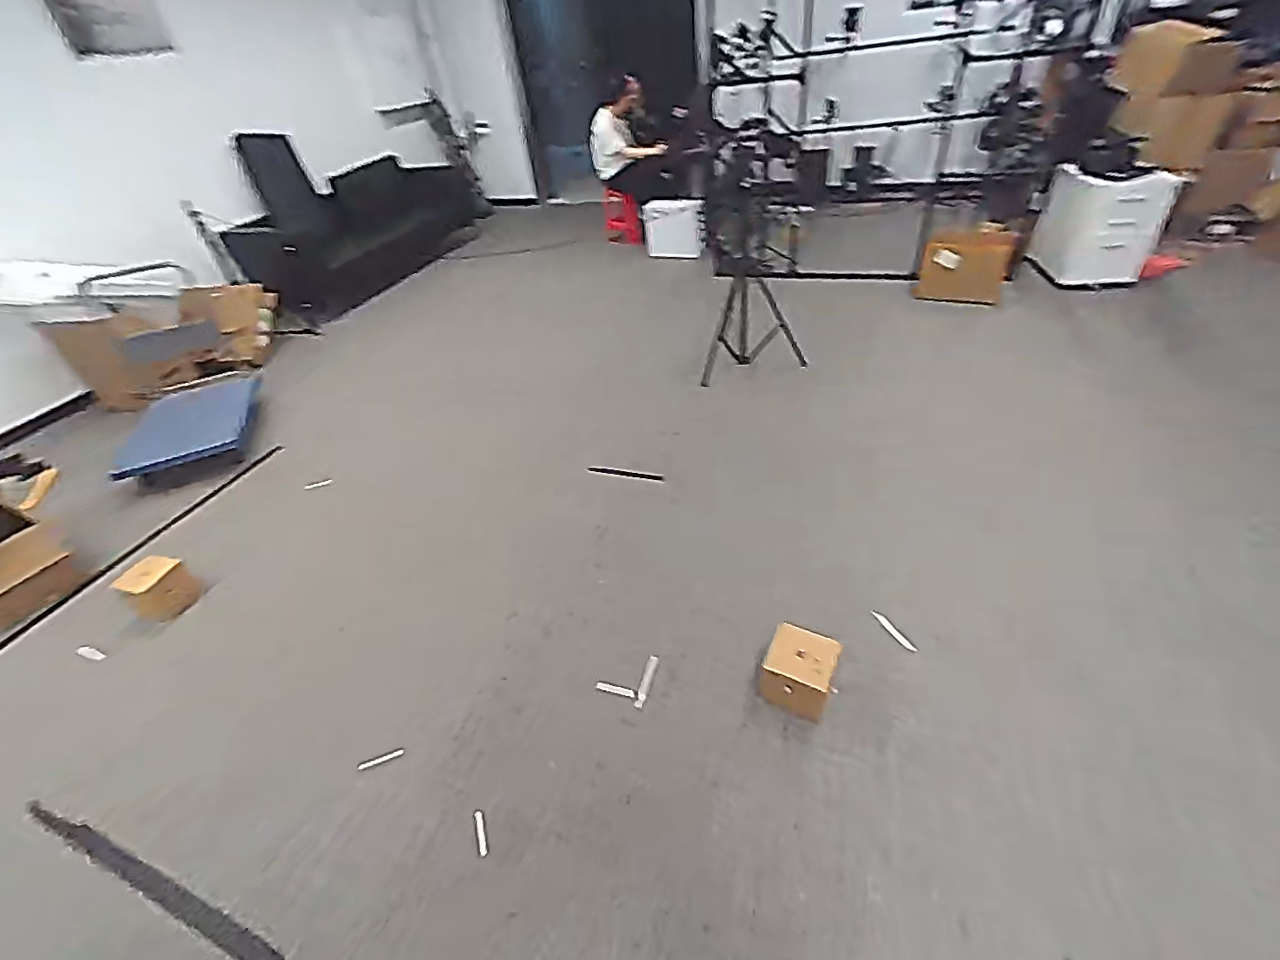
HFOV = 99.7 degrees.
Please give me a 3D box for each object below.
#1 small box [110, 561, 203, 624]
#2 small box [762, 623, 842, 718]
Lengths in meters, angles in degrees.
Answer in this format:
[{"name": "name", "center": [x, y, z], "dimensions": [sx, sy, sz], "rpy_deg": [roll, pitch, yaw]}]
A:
[{"name": "small box", "center": [-1.869, 0.439, 2.102], "dimensions": [0.179, 0.176, 0.168], "rpy_deg": [3, 41, 15]}, {"name": "small box", "center": [0.457, 0.545, 1.541], "dimensions": [0.179, 0.176, 0.168], "rpy_deg": [15, 45, 26]}]
